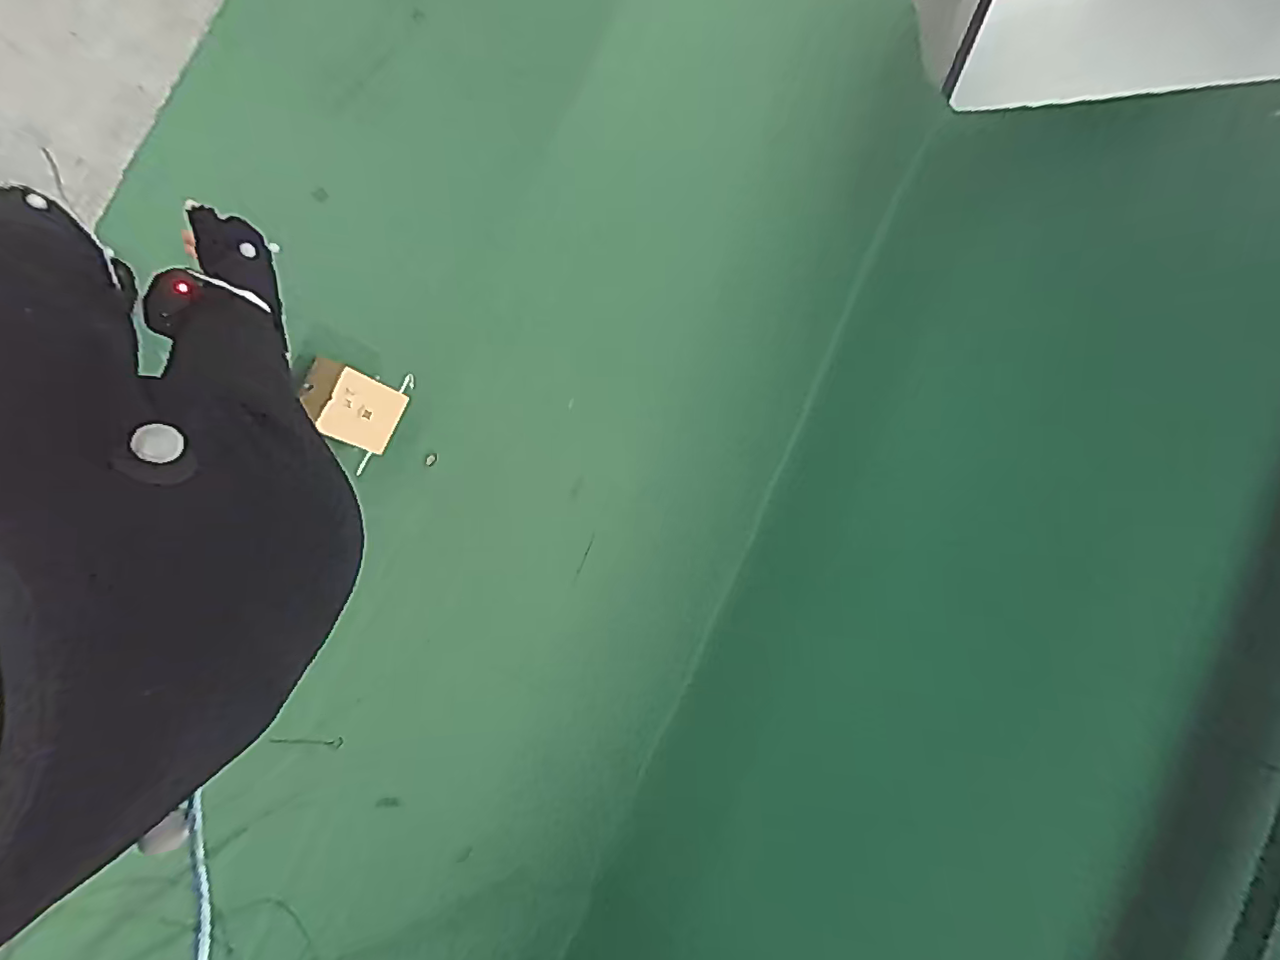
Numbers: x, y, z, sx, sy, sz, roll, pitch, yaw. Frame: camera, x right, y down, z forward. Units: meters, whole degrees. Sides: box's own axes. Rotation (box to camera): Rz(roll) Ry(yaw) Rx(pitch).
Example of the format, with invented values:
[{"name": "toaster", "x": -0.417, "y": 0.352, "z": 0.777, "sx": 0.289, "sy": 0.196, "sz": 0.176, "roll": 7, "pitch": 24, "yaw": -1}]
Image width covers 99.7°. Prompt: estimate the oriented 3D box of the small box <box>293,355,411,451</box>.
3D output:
[{"name": "small box", "x": -0.717, "y": -0.195, "z": 1.346, "sx": 0.179, "sy": 0.176, "sz": 0.168, "roll": 31, "pitch": 83, "yaw": -52}]
